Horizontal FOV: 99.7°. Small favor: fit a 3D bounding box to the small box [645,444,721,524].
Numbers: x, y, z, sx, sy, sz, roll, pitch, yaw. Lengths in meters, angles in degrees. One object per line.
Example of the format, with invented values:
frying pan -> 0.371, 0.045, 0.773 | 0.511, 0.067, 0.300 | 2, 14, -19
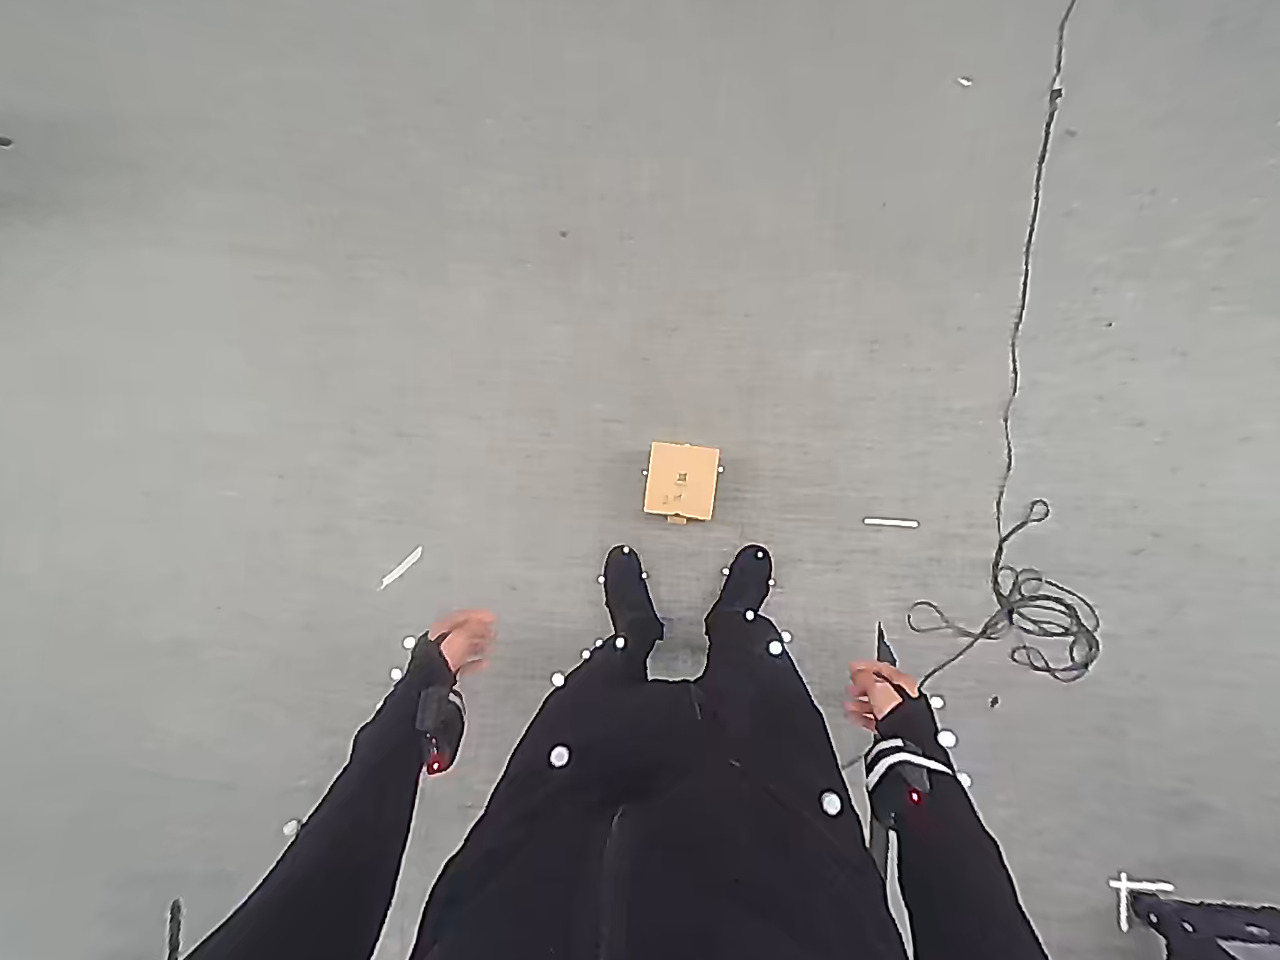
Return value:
small box -> 0.108, 0.015, 1.377 | 0.168, 0.176, 0.179 | 7, 87, 4
